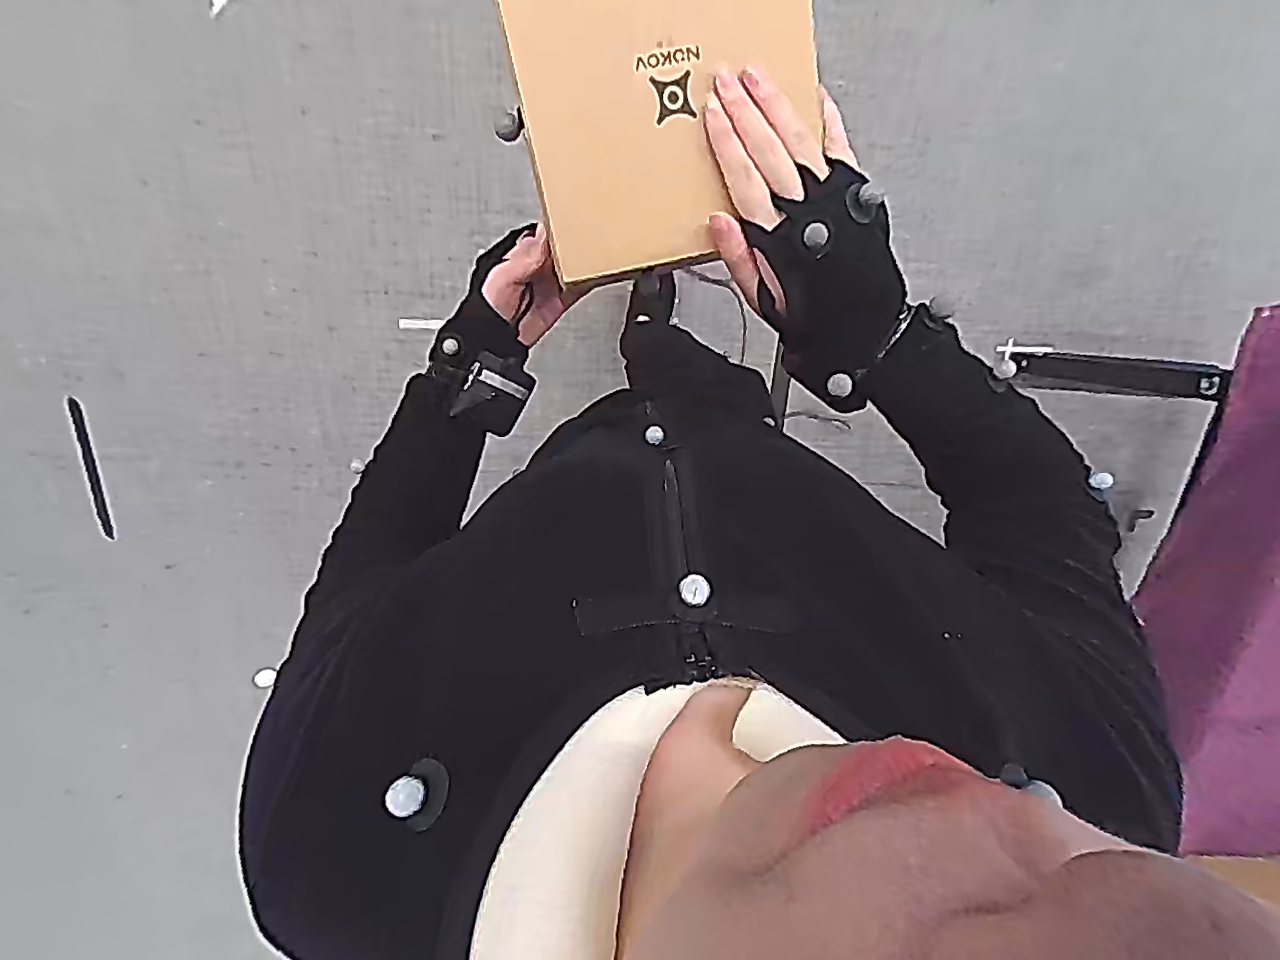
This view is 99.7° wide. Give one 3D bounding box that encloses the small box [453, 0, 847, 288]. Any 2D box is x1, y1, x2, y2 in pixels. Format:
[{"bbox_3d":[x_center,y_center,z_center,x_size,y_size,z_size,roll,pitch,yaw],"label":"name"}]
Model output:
[{"bbox_3d":[0.014,-0.243,0.326,0.179,0.176,0.168,-14,89,15],"label":"small box"}]
